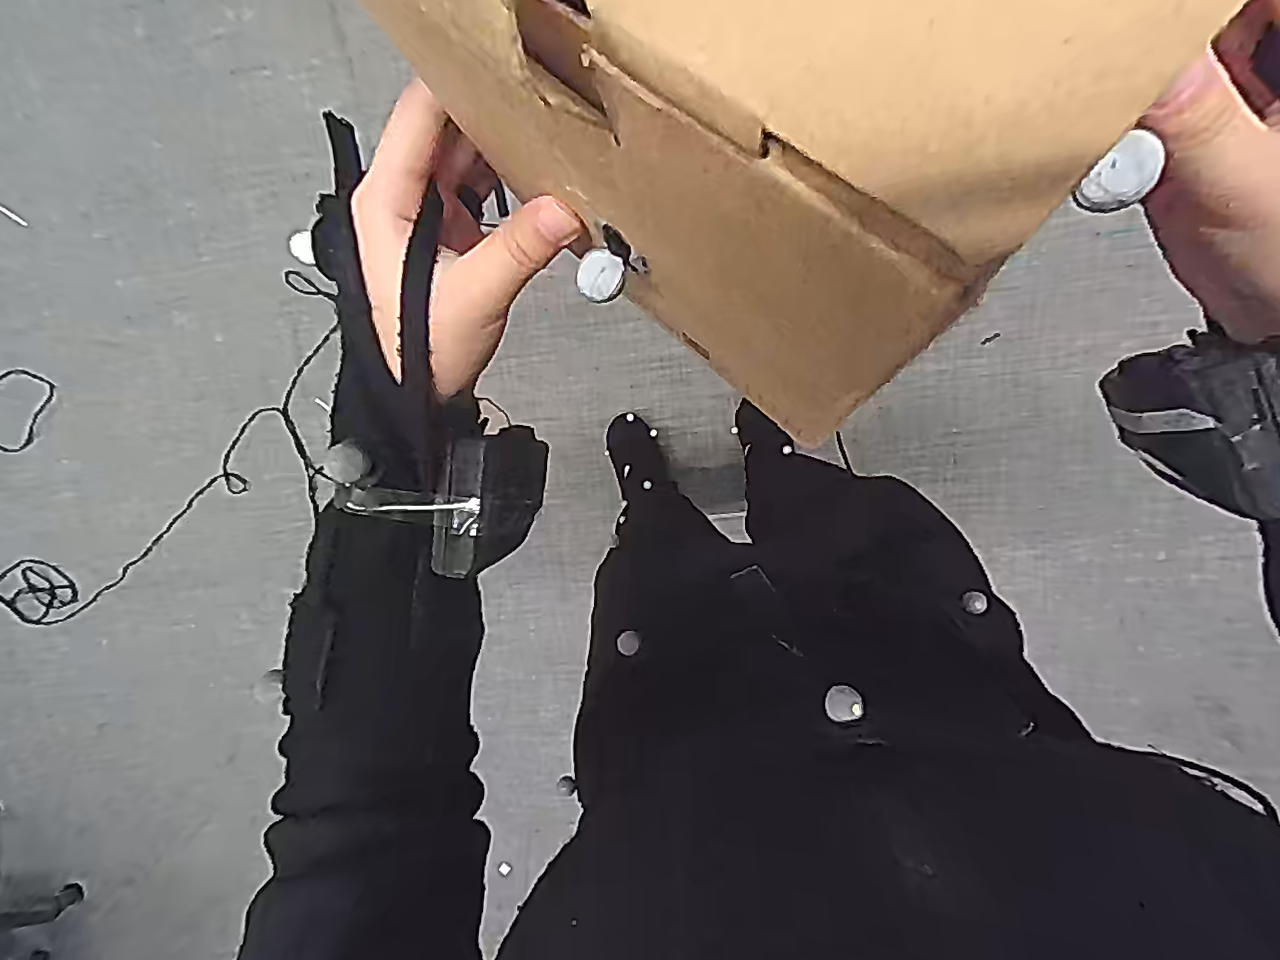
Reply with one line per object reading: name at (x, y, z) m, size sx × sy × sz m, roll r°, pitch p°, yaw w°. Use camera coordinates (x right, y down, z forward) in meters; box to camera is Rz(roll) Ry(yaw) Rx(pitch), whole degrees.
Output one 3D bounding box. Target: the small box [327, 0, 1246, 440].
small box at (0.048, -0.128, 0.151) m, size 0.168 × 0.176 × 0.179 m, roll 42°, pitch 98°, yaw 10°
